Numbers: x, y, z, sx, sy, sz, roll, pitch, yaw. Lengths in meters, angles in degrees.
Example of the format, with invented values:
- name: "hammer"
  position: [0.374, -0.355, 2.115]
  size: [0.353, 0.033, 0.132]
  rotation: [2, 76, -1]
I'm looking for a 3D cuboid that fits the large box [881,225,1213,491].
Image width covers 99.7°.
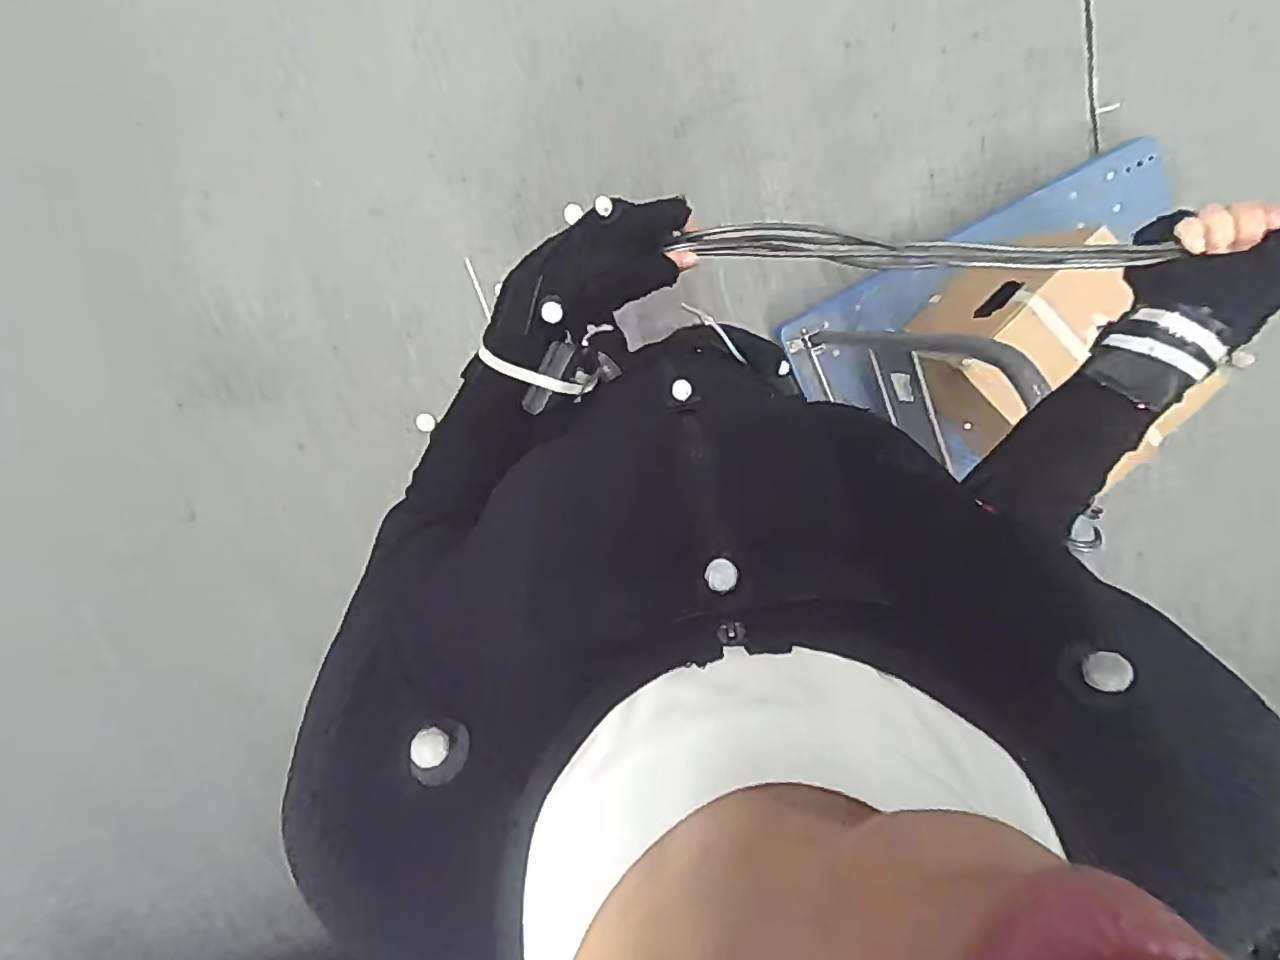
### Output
- name: "large box"
  position: [0.804, -0.248, 1.124]
  size: [0.408, 0.320, 0.320]
  rotation: [39, 102, -13]
